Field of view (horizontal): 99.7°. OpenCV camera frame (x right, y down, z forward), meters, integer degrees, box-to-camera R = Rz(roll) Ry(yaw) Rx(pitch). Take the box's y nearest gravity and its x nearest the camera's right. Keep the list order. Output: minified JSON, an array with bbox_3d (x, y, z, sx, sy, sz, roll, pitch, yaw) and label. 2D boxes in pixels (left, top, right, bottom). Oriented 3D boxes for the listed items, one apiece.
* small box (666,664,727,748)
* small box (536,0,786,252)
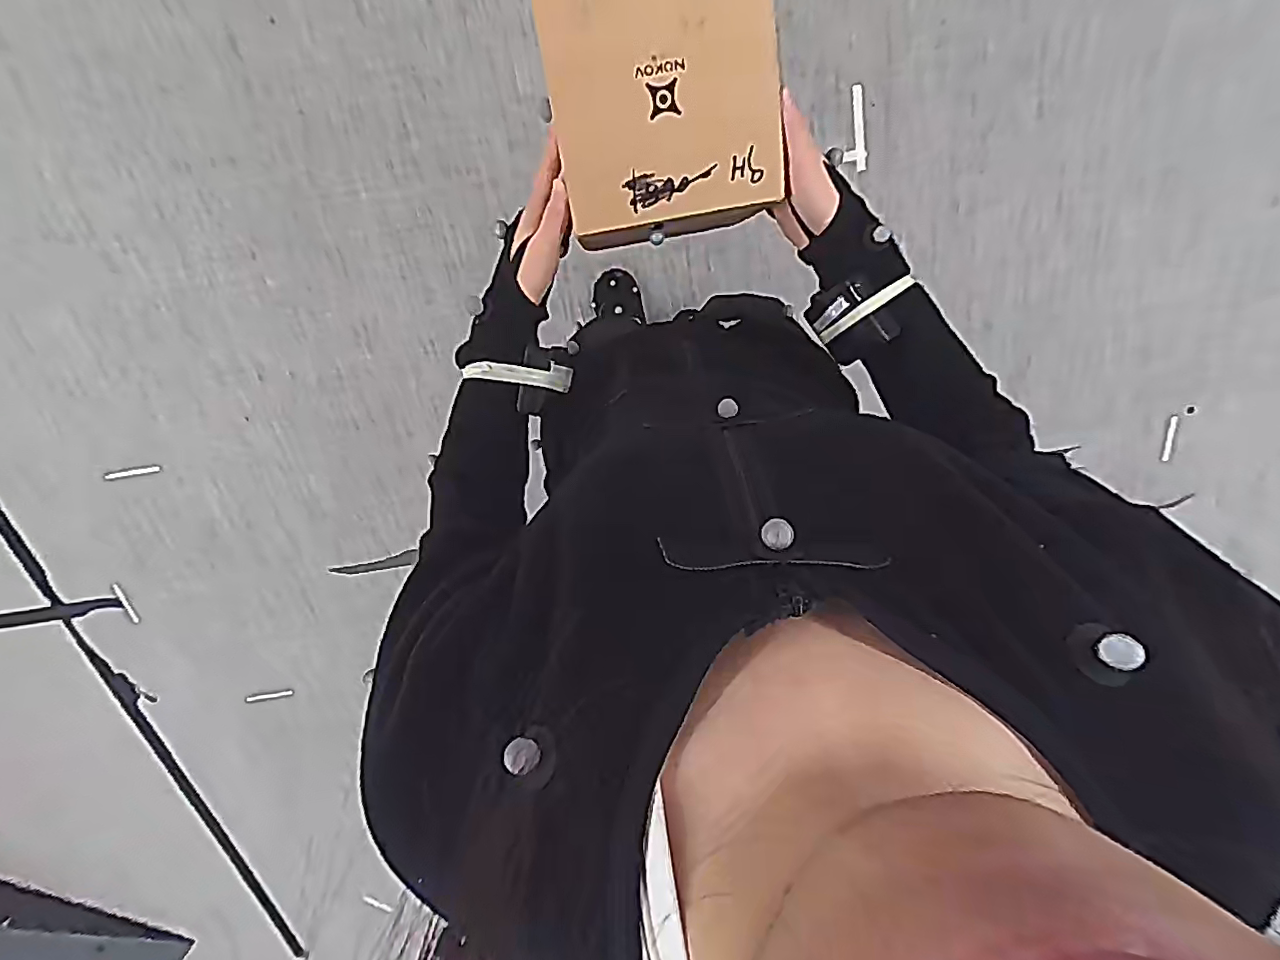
[{"bbox_3d":[0.183,0.732,1.761,0.168,0.176,0.179,-11,111,1],"label":"small box"},{"bbox_3d":[0.013,-0.305,0.459,0.168,0.176,0.179,-10,109,0],"label":"small box"}]
